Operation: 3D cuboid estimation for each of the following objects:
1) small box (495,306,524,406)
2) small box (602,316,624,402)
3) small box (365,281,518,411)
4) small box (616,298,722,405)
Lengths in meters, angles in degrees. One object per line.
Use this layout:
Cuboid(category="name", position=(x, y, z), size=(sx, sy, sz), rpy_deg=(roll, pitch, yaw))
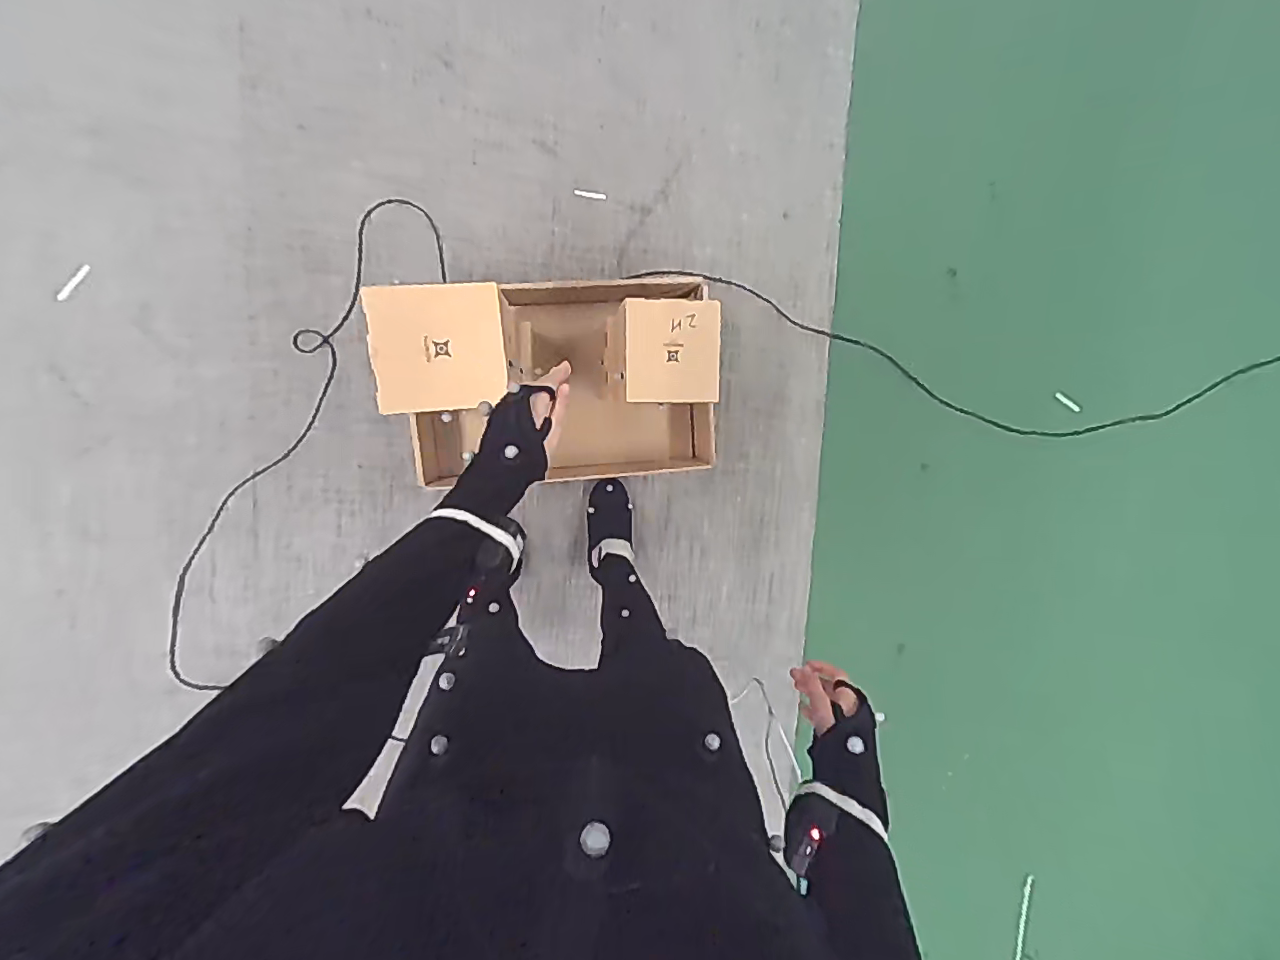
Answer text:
Cuboid(category="small box", position=(-0.300, -0.216, 0.954), size=(0.179, 0.176, 0.168), rpy_deg=(0, 99, -9))
Cuboid(category="small box", position=(0.008, -0.251, 1.161), size=(0.179, 0.176, 0.168), rpy_deg=(0, 98, -8))
Cuboid(category="small box", position=(-0.276, -0.192, 0.796), size=(0.179, 0.176, 0.168), rpy_deg=(-5, 100, -7))
Cuboid(category="small box", position=(0.047, -0.228, 1.001), size=(0.168, 0.176, 0.179), rpy_deg=(0, 97, -9))
